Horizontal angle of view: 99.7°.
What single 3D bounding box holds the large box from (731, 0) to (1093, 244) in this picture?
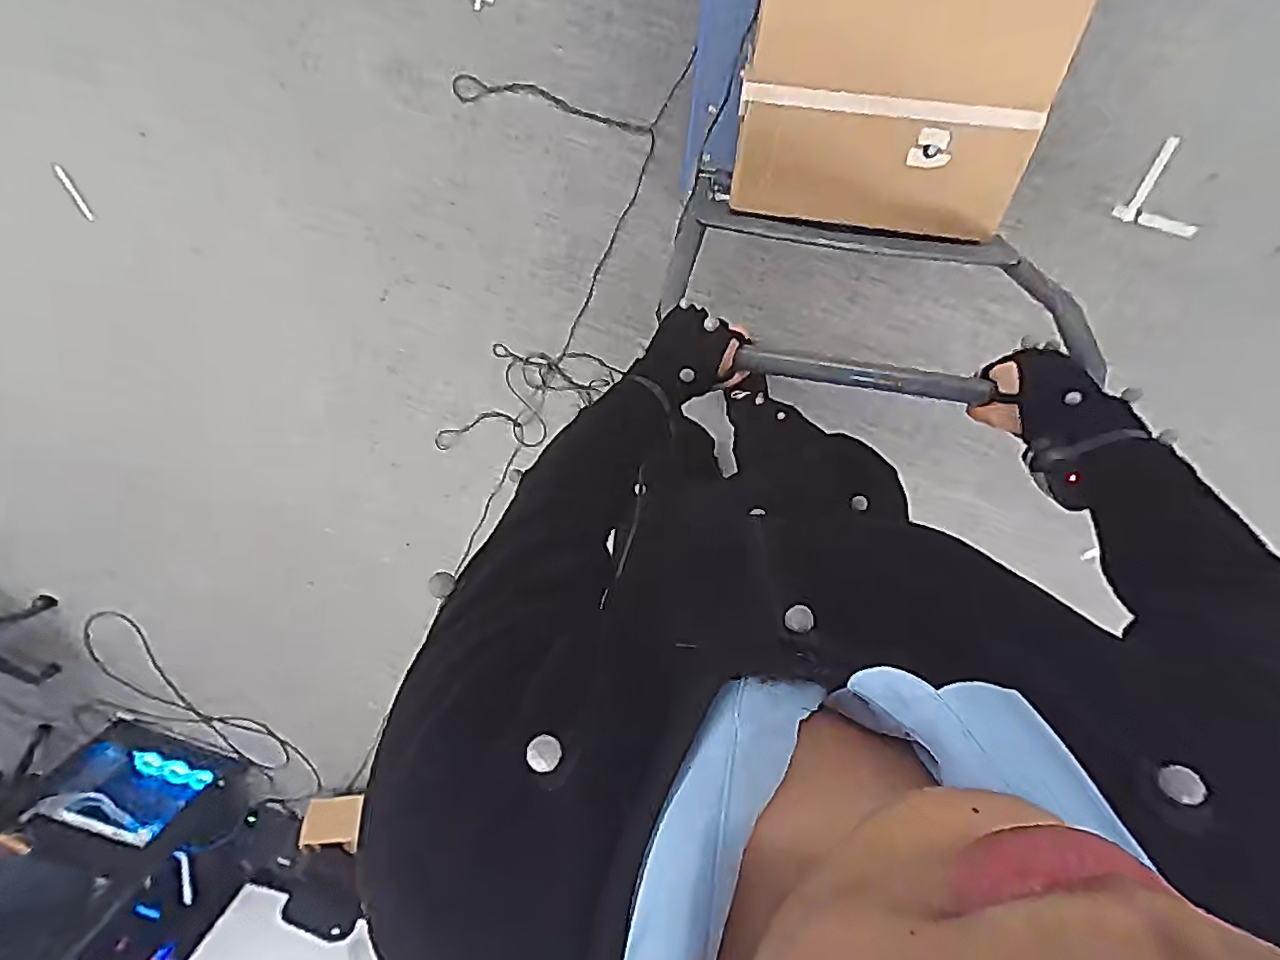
[{"bbox_3d":[0.369,-0.596,0.873,0.408,0.320,0.320,9,127,3],"label":"large box"}]
